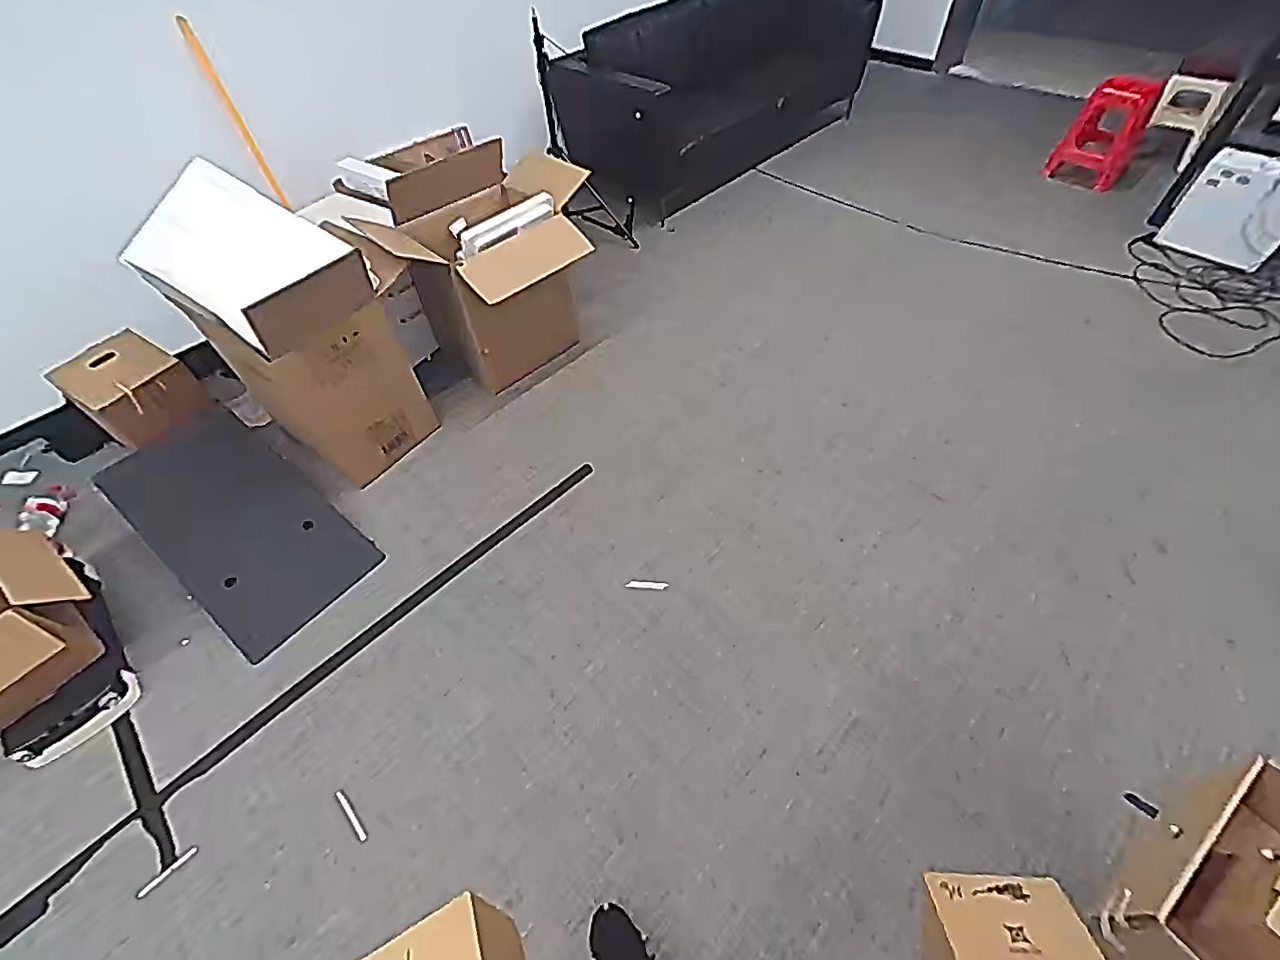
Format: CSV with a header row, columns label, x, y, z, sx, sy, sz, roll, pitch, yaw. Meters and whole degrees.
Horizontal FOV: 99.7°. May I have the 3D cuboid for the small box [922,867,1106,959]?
label,x,y,z,sx,sy,sz,roll,pitch,yaw
small box,0.457,0.621,0.656,0.168,0.176,0.179,-4,13,11

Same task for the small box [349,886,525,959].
label,x,y,z,sx,sy,sz,roll,pitch,yaw
small box,-0.227,0.635,0.635,0.168,0.176,0.179,-26,40,-14
